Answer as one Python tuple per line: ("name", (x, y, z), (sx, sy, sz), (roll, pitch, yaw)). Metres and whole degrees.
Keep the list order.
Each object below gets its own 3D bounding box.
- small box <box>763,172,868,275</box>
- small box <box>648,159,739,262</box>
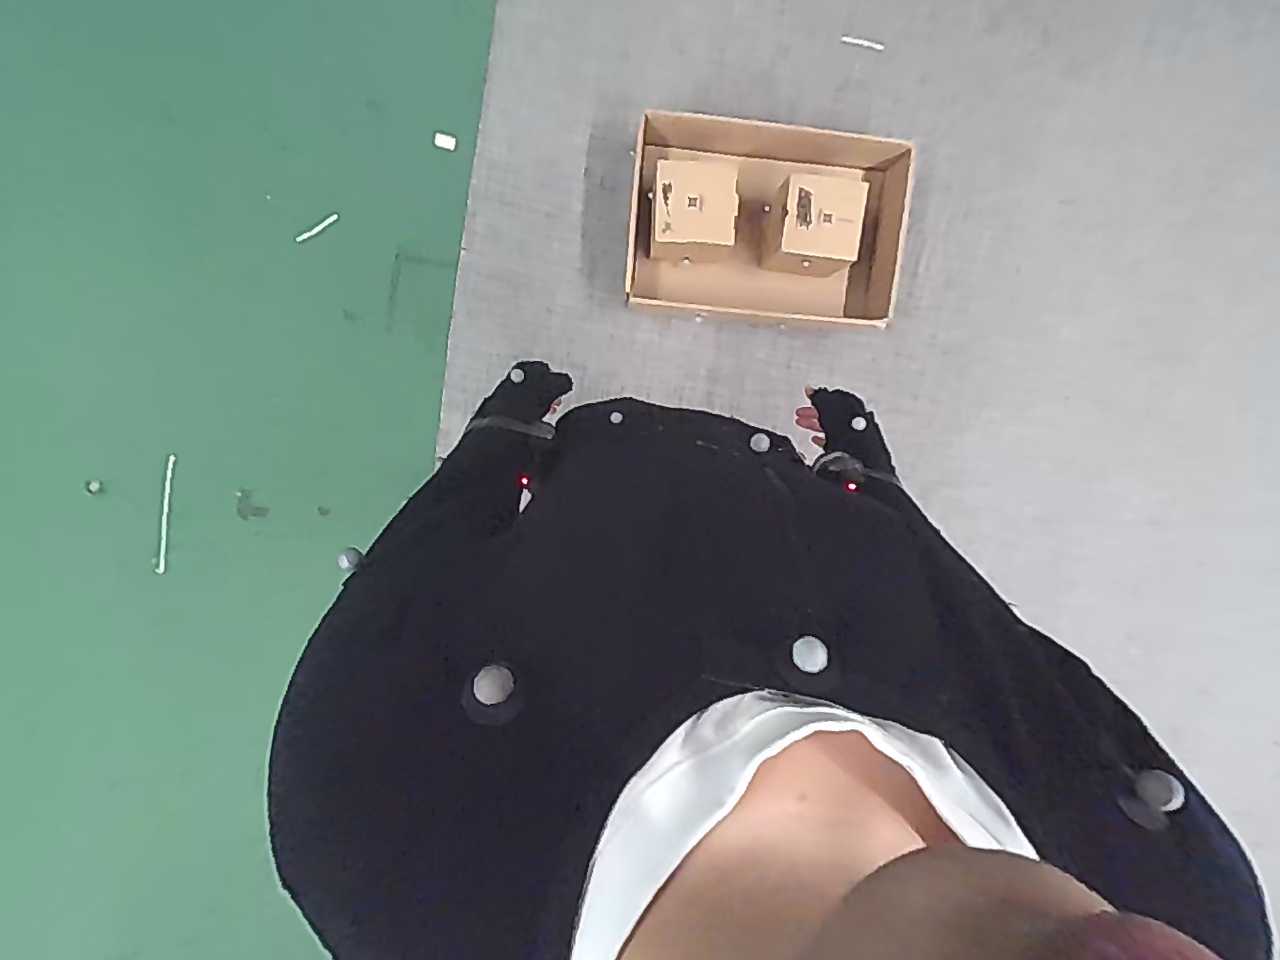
("small box", (0.396, -0.586, 1.255), (0.179, 0.176, 0.168), (6, 99, -3))
("small box", (0.116, -0.606, 1.237), (0.179, 0.176, 0.168), (1, 98, -5))
